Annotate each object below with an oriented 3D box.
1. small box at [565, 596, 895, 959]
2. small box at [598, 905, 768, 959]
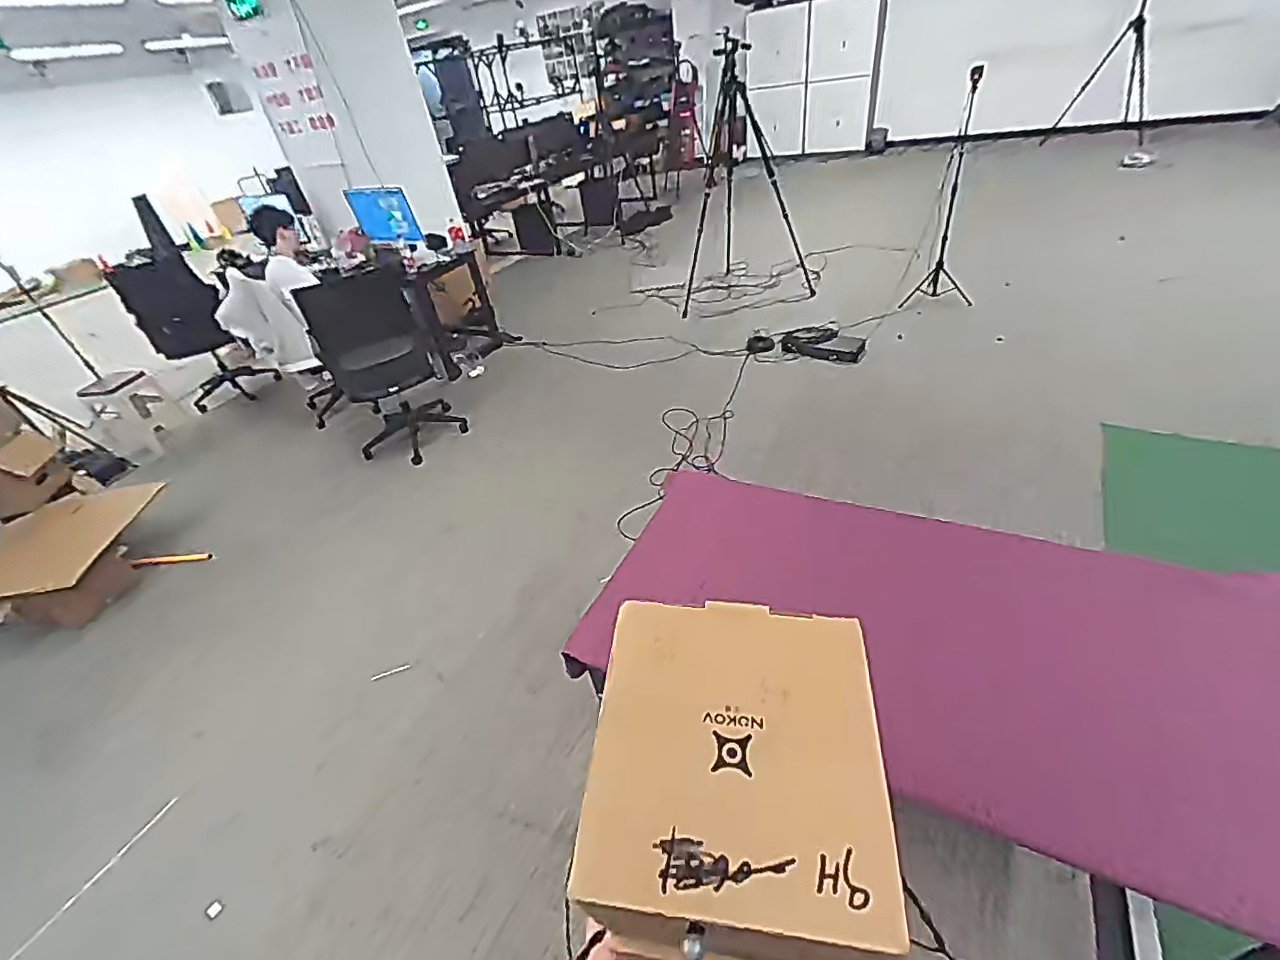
[{"bbox_3d":[0.059,0.207,0.380,0.168,0.176,0.179,3,46,10],"label":"small box"},{"bbox_3d":[0.069,0.329,0.489,0.168,0.176,0.179,4,46,9],"label":"small box"}]
